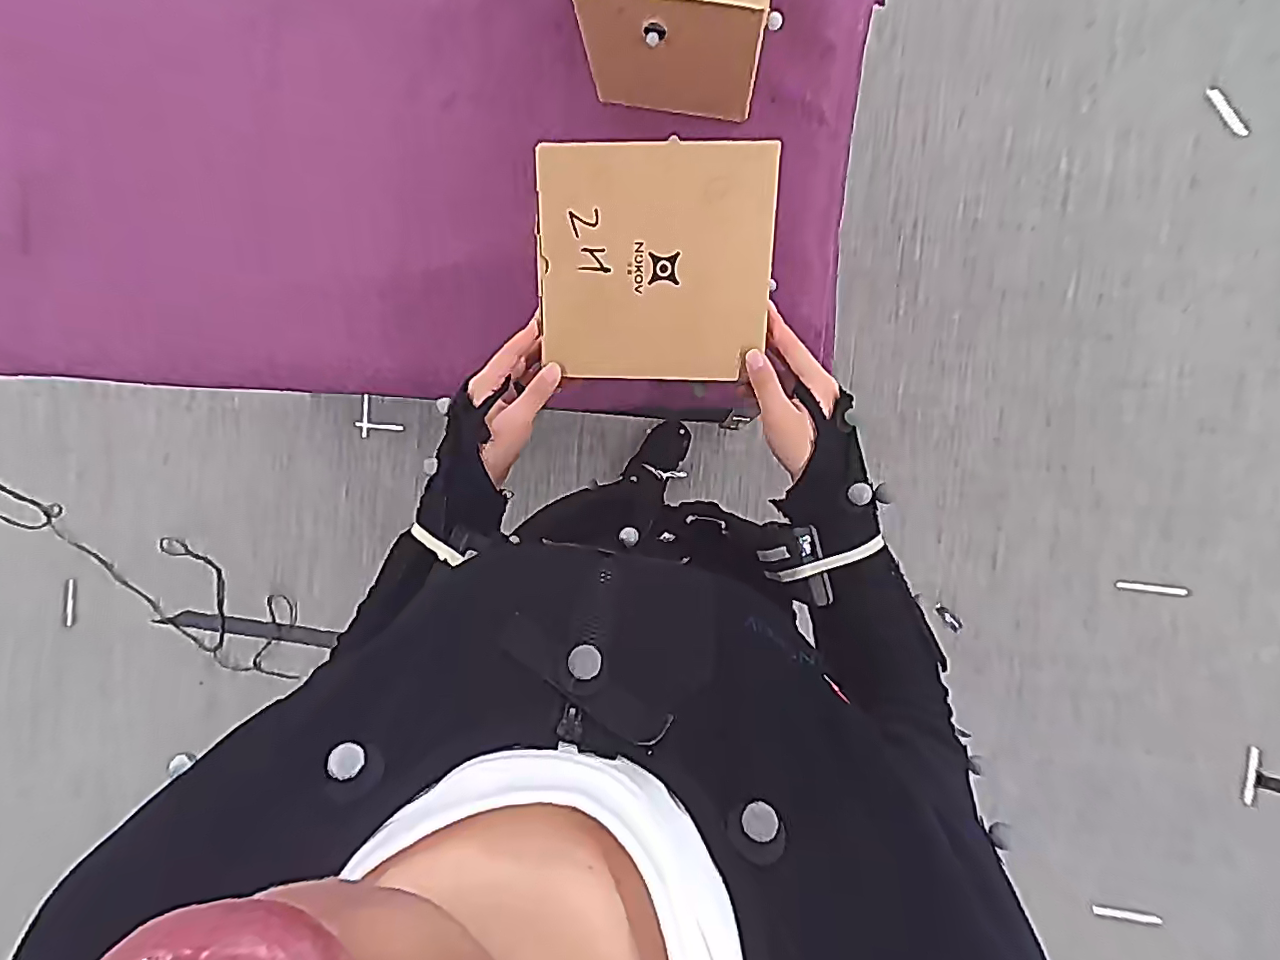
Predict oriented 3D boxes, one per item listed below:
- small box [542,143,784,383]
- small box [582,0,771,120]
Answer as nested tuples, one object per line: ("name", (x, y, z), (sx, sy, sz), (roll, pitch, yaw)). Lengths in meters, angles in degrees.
("small box", (0.019, -0.181, 0.481), (0.179, 0.176, 0.168), (3, 106, 5))
("small box", (0.045, -0.502, 0.546), (0.179, 0.176, 0.168), (11, 95, 4))
